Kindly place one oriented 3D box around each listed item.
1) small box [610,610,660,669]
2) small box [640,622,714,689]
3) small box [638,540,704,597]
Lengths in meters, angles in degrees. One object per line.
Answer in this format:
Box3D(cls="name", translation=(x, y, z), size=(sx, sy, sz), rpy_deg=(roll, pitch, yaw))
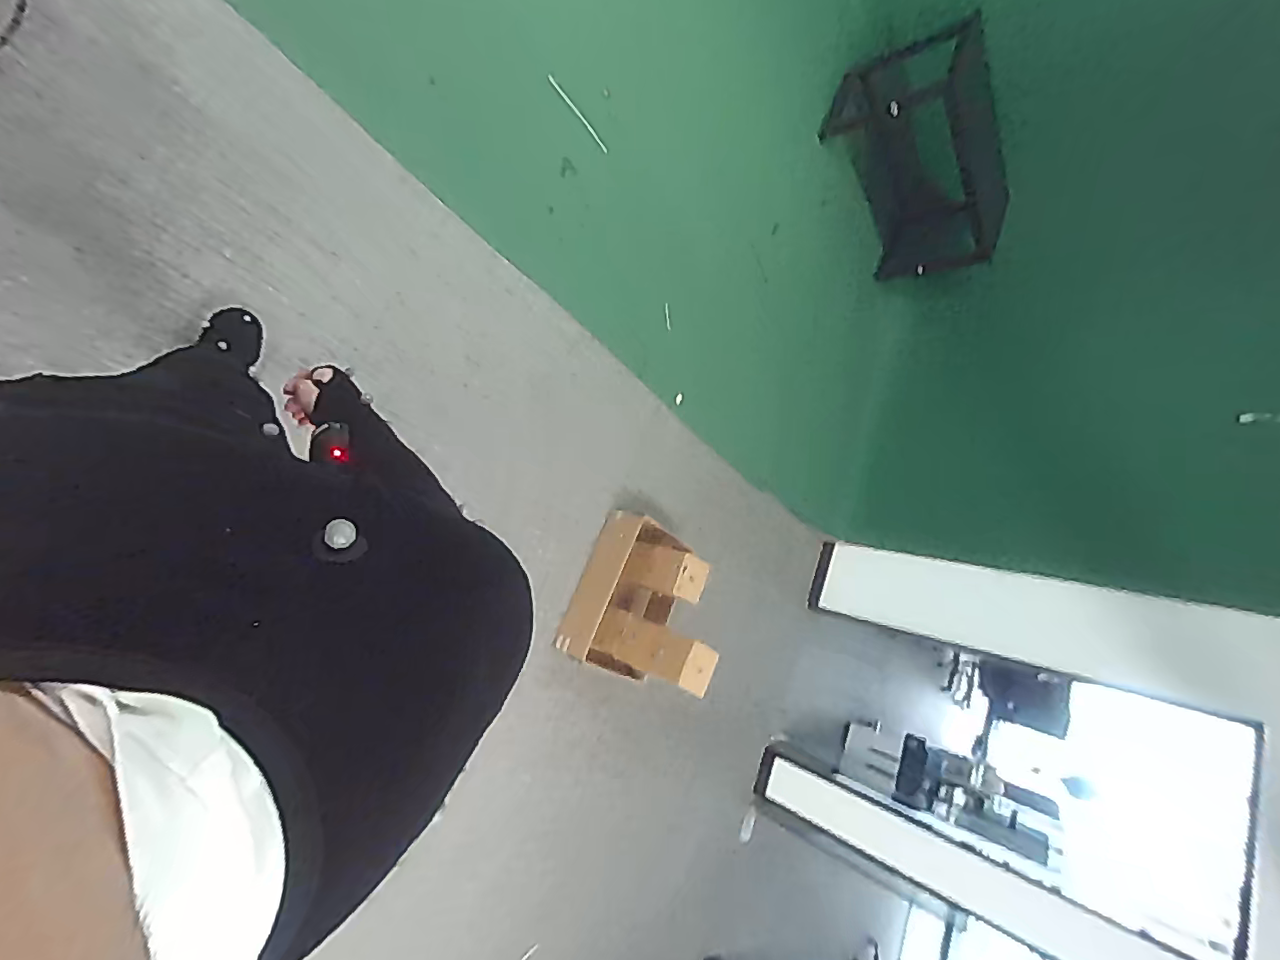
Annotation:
Box3D(cls="small box", translation=(0.019, 0.623, 2.102), size=(0.179, 0.176, 0.168), rpy_deg=(41, 67, -40))
Box3D(cls="small box", translation=(0.135, 0.638, 1.985), size=(0.179, 0.176, 0.168), rpy_deg=(42, 66, -40))
Box3D(cls="small box", translation=(0.124, 0.352, 2.172), size=(0.179, 0.176, 0.168), rpy_deg=(34, 71, -44))
